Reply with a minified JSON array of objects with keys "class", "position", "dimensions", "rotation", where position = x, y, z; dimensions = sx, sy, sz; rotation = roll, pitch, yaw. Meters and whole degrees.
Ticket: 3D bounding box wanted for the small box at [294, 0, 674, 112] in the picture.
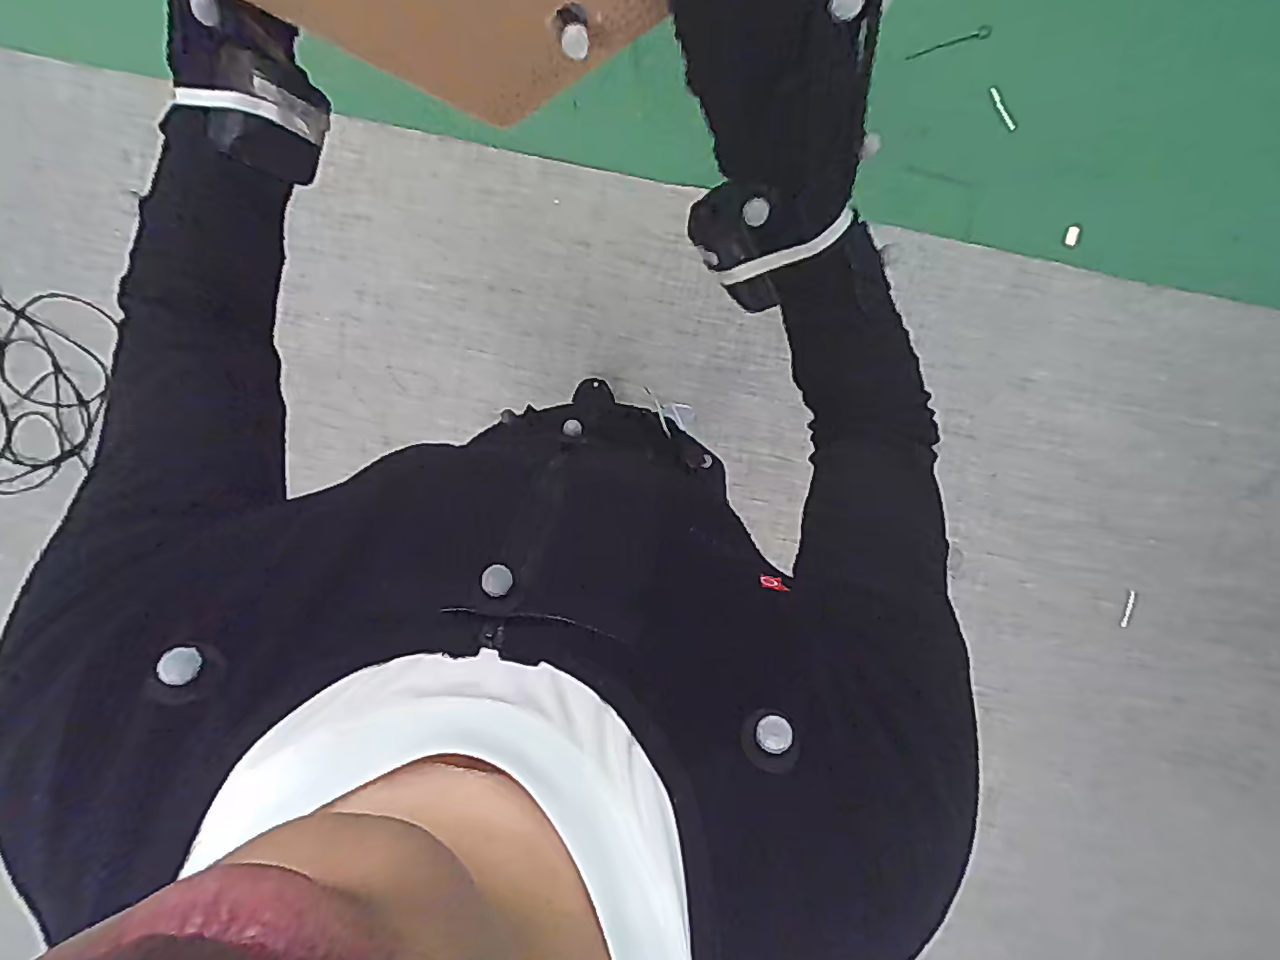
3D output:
[{"class":"small box","position":[-0.073,-0.317,0.244],"dimensions":[0.179,0.176,0.168],"rotation":[-13,95,30]}]
